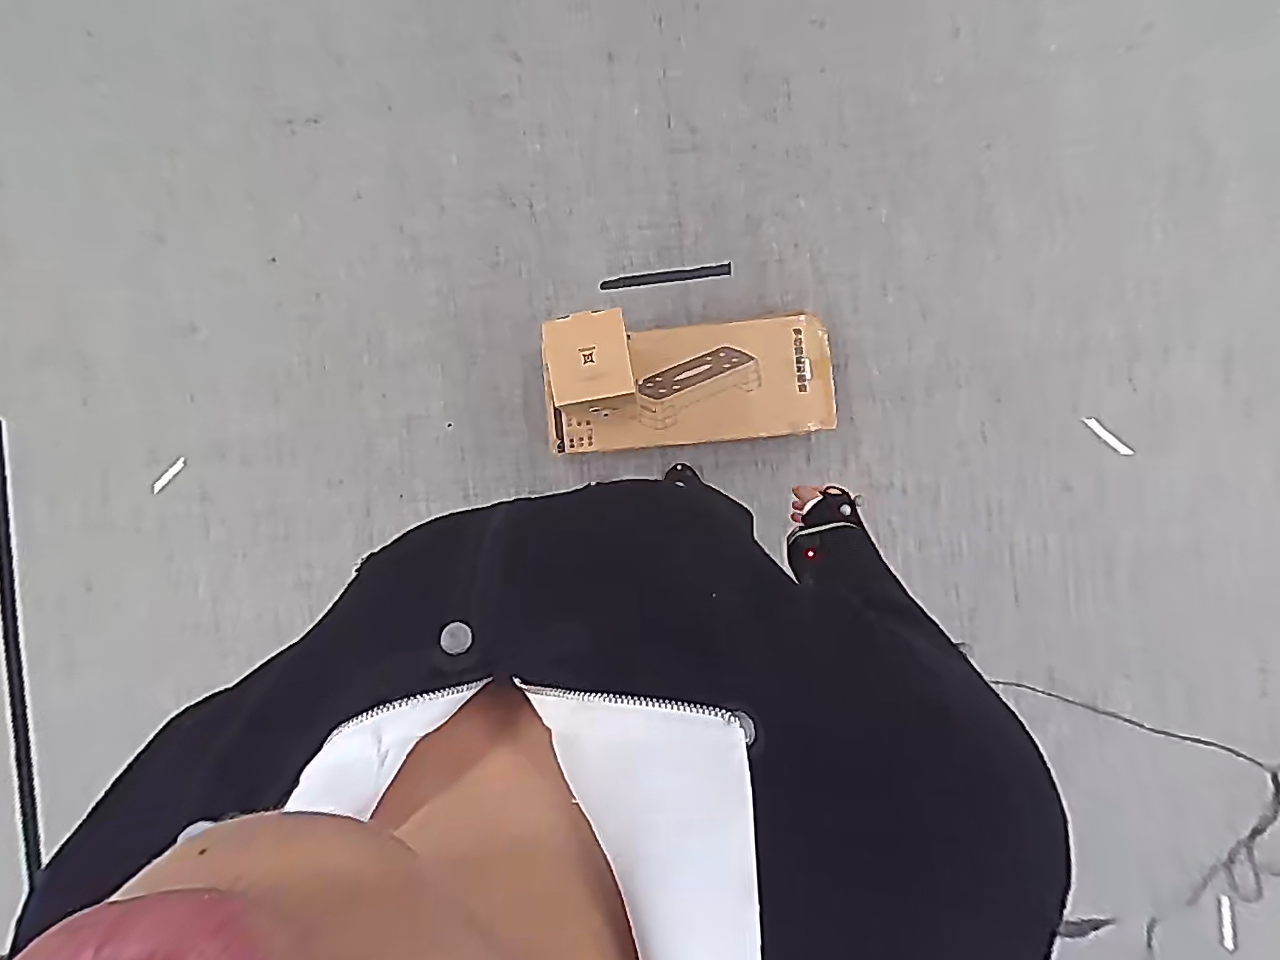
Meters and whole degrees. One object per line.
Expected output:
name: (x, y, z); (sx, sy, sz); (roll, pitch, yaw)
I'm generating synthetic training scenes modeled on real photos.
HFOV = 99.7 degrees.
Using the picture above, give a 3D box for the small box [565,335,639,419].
small box: (-0.091, -0.242, 1.315); (0.168, 0.176, 0.179); (-4, 91, 1)

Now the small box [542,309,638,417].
small box: (-0.100, -0.241, 1.152); (0.168, 0.176, 0.179); (-10, 90, 2)
